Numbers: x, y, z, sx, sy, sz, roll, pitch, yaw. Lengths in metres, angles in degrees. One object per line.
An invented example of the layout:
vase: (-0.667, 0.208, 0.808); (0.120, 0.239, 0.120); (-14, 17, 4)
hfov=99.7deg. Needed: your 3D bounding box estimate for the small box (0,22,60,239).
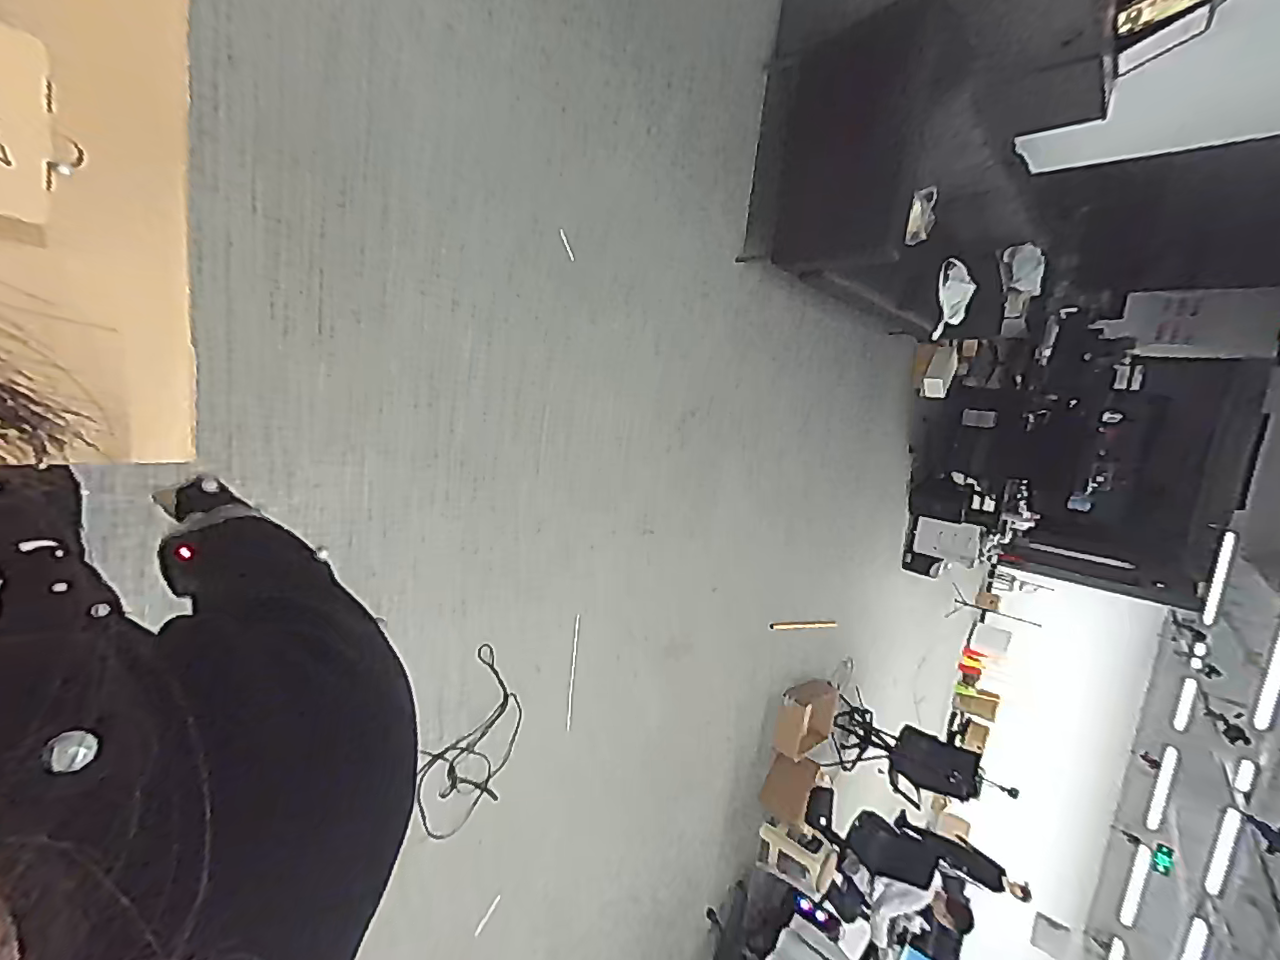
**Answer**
small box: (-0.669, -0.338, 0.500); (0.179, 0.176, 0.168); (1, 99, -47)
